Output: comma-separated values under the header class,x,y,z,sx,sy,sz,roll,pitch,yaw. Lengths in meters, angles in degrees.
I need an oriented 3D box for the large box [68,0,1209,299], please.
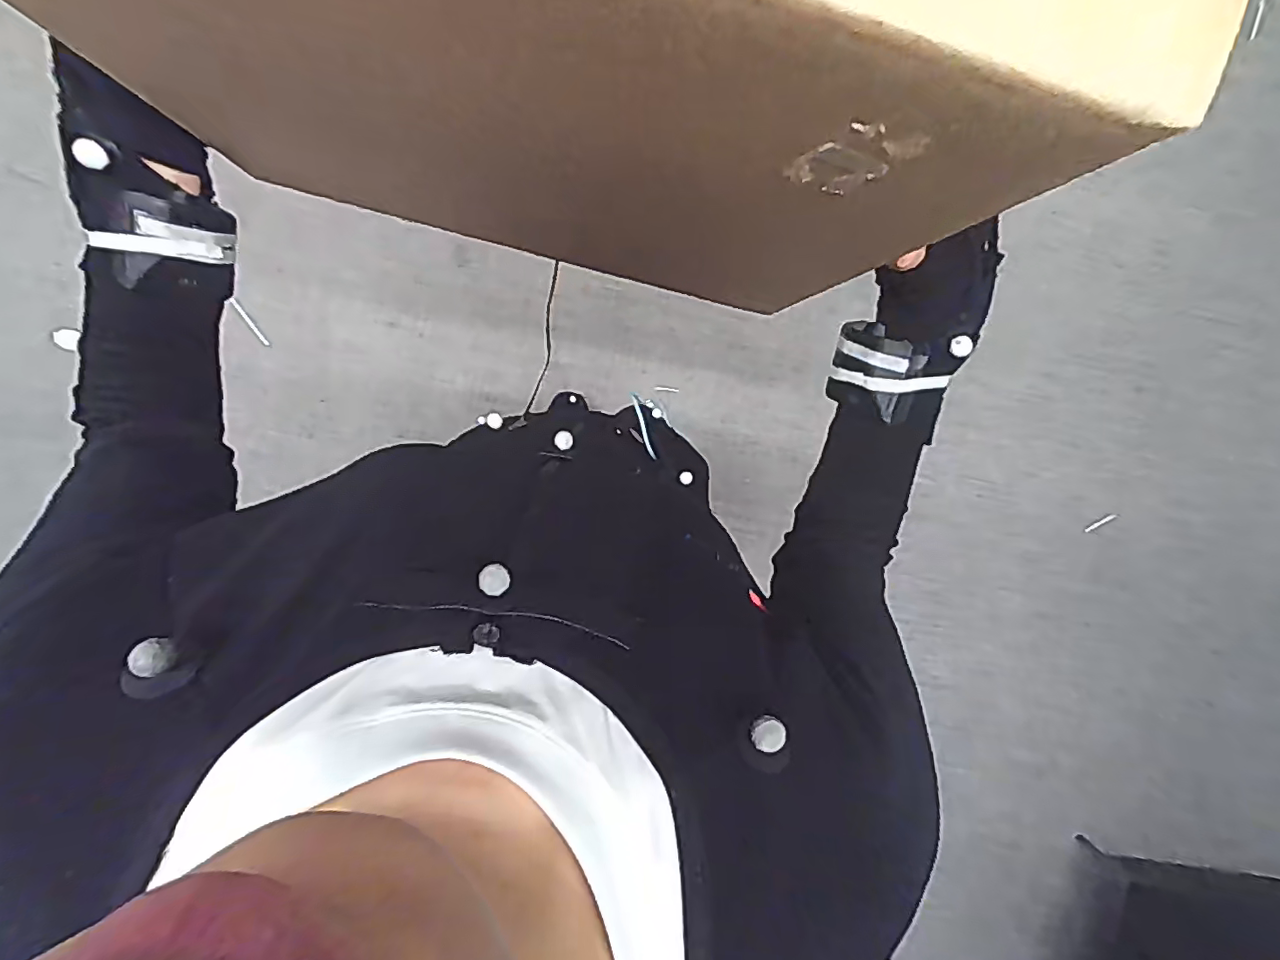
class,x,y,z,sx,sy,sz,roll,pitch,yaw
large box,-0.024,-0.312,0.258,0.408,0.320,0.320,12,97,-10
